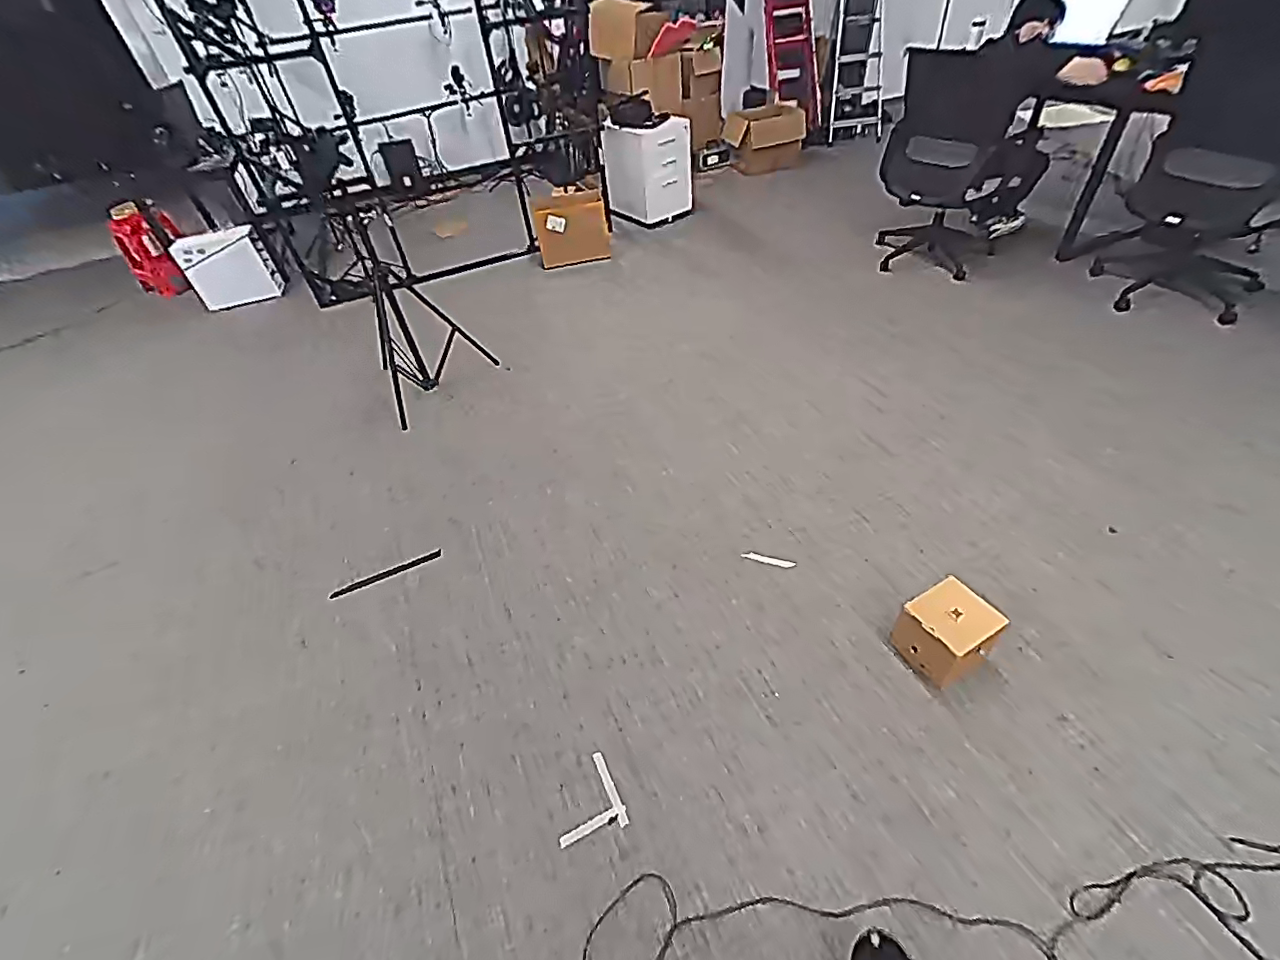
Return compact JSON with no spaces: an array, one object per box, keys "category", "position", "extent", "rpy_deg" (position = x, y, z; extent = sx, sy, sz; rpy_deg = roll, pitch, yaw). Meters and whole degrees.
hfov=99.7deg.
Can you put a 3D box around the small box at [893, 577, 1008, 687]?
[{"category":"small box","position":[0.777,0.387,1.374],"extent":[0.179,0.176,0.168],"rpy_deg":[-25,46,-17]}]
